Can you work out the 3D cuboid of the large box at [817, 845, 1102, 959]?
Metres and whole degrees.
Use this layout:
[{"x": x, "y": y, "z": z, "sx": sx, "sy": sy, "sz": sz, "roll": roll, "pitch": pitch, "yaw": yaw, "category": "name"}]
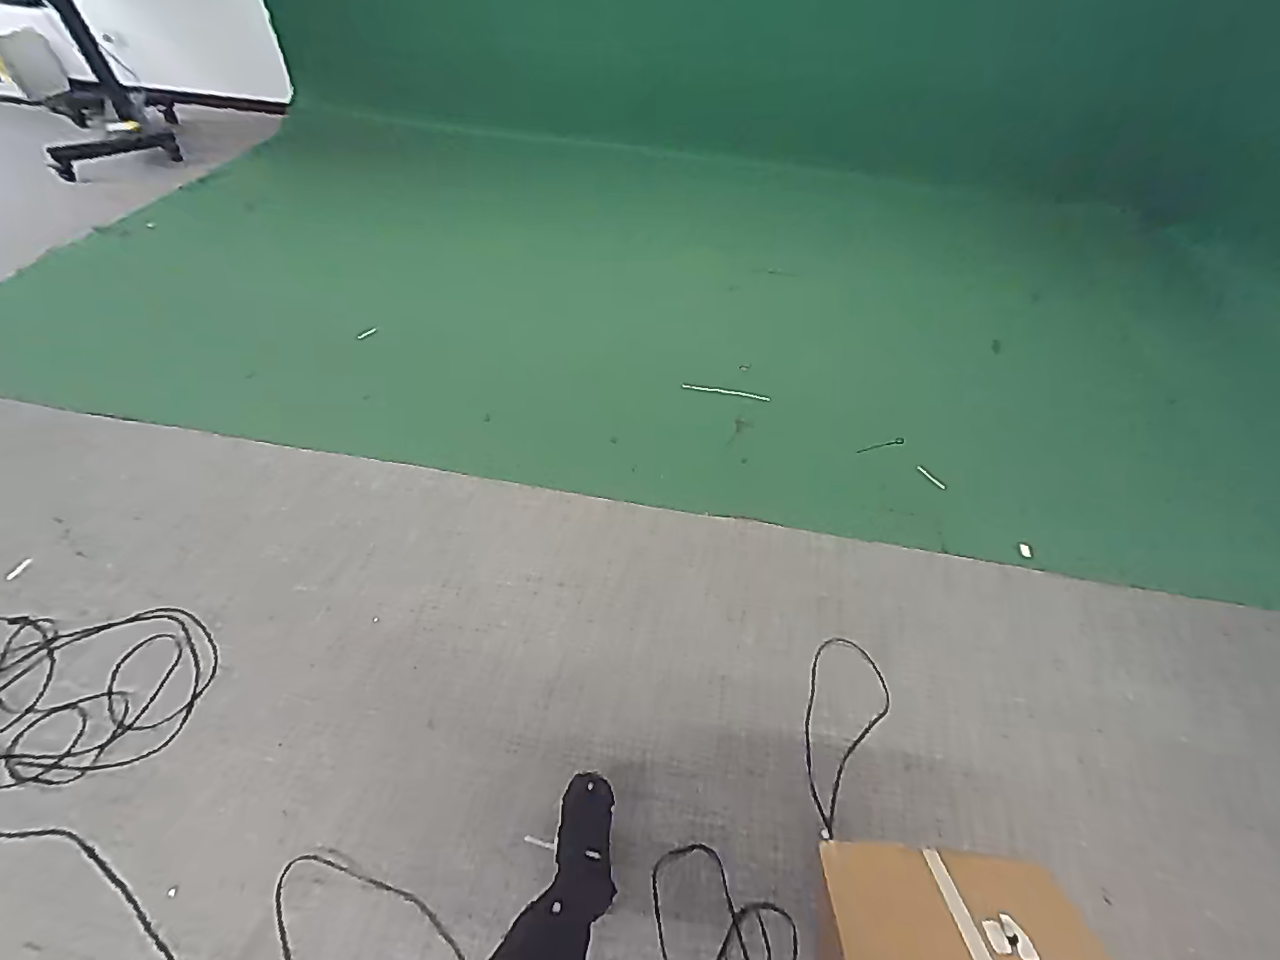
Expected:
[{"x": 0.400, "y": 0.732, "z": 0.631, "sx": 0.320, "sy": 0.320, "sz": 0.408, "roll": 1, "pitch": 7, "yaw": 8, "category": "large box"}]
